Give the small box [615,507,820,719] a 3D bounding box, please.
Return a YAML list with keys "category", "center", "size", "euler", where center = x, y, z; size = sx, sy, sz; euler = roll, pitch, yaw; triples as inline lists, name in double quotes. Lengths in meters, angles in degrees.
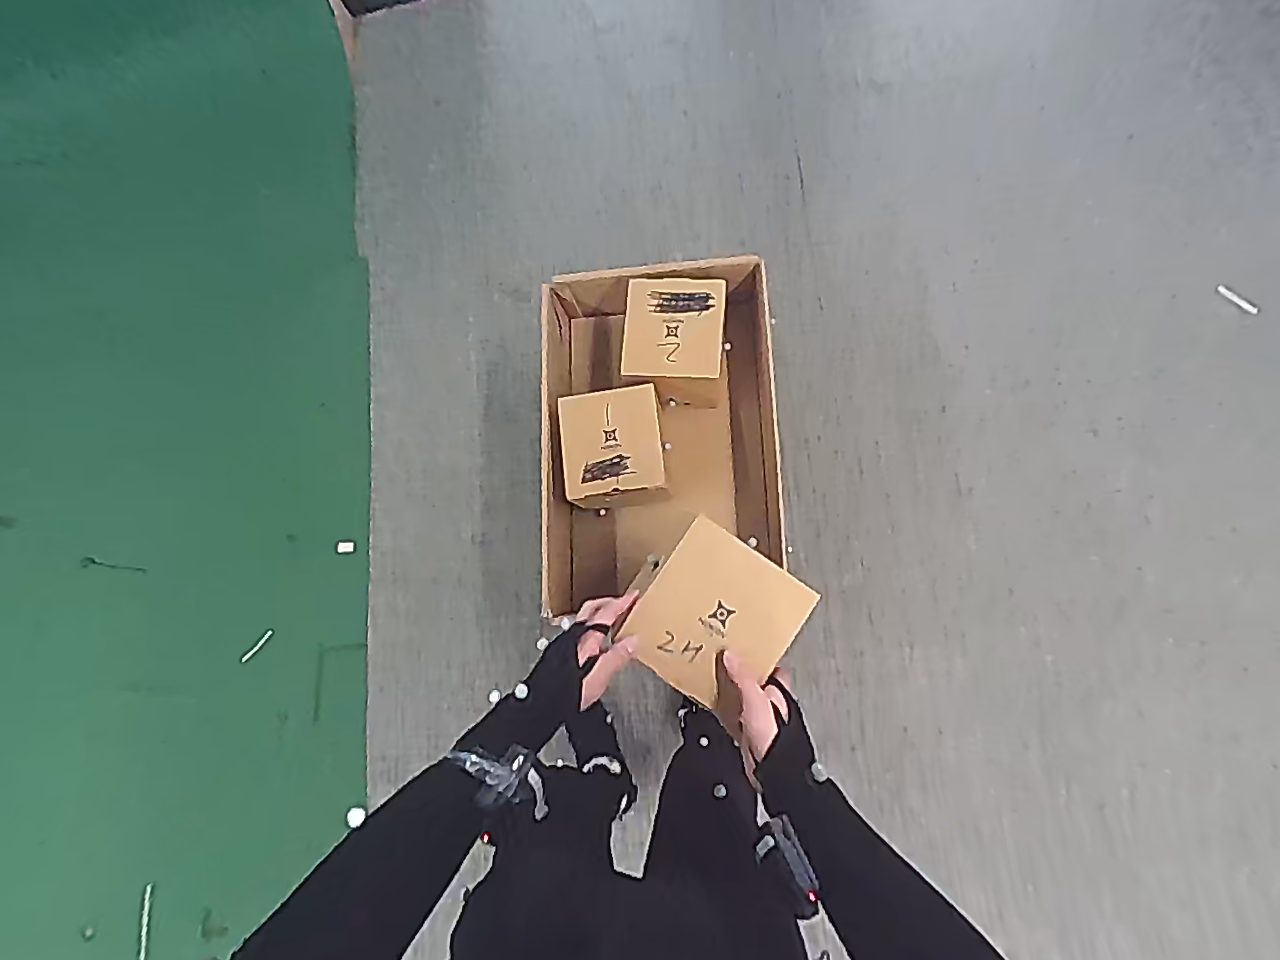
- category: "small box"
  center: [0.083, 0.146, 0.669]
  size: [0.168, 0.176, 0.179]
  euler: [36, 88, 0]
